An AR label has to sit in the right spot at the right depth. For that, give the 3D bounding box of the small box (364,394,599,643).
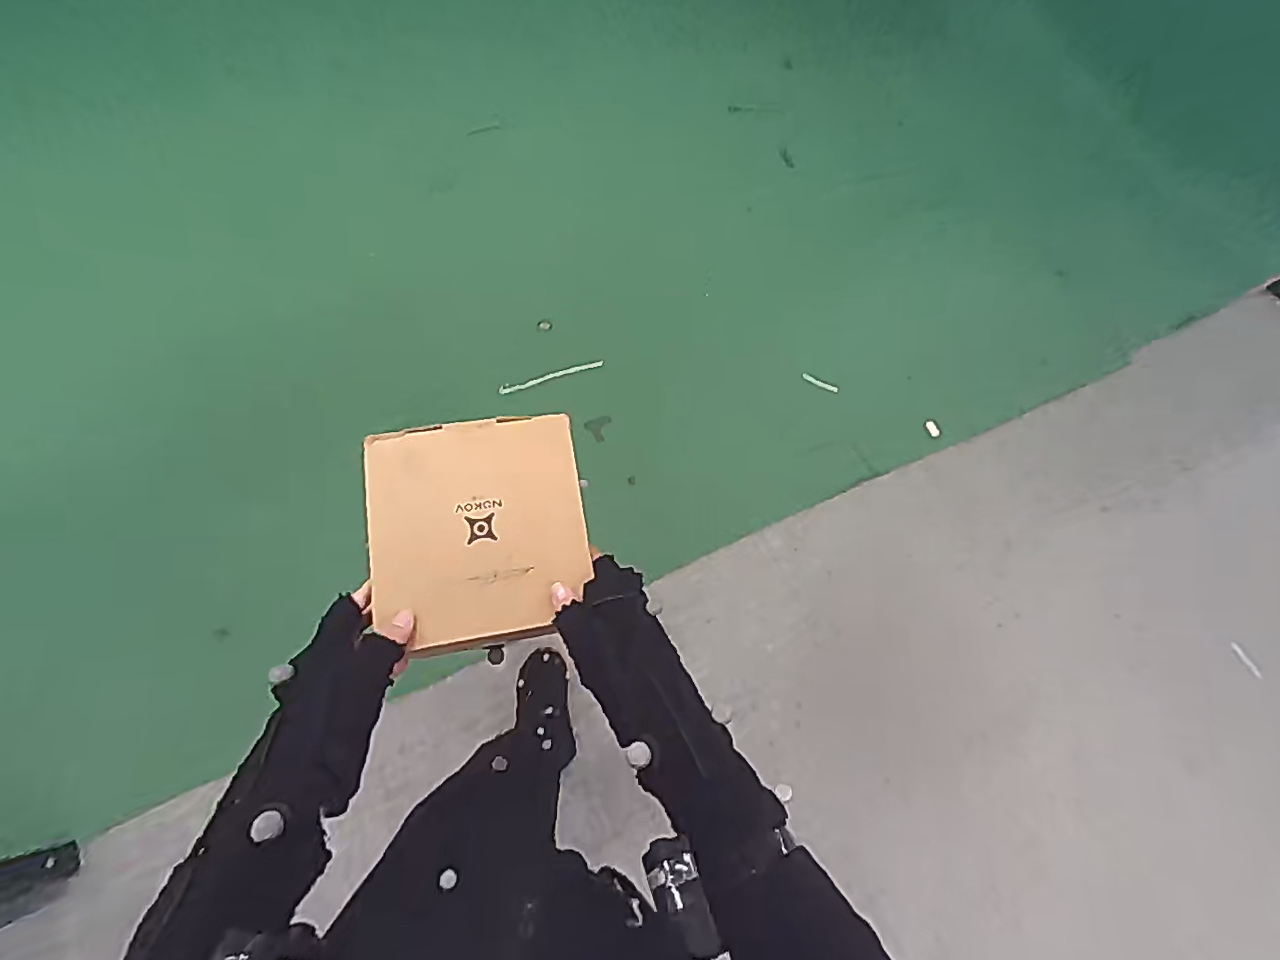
[{"bbox_3d":[-0.133,0.043,0.485,0.168,0.176,0.179,-6,73,-9],"label":"small box"}]
